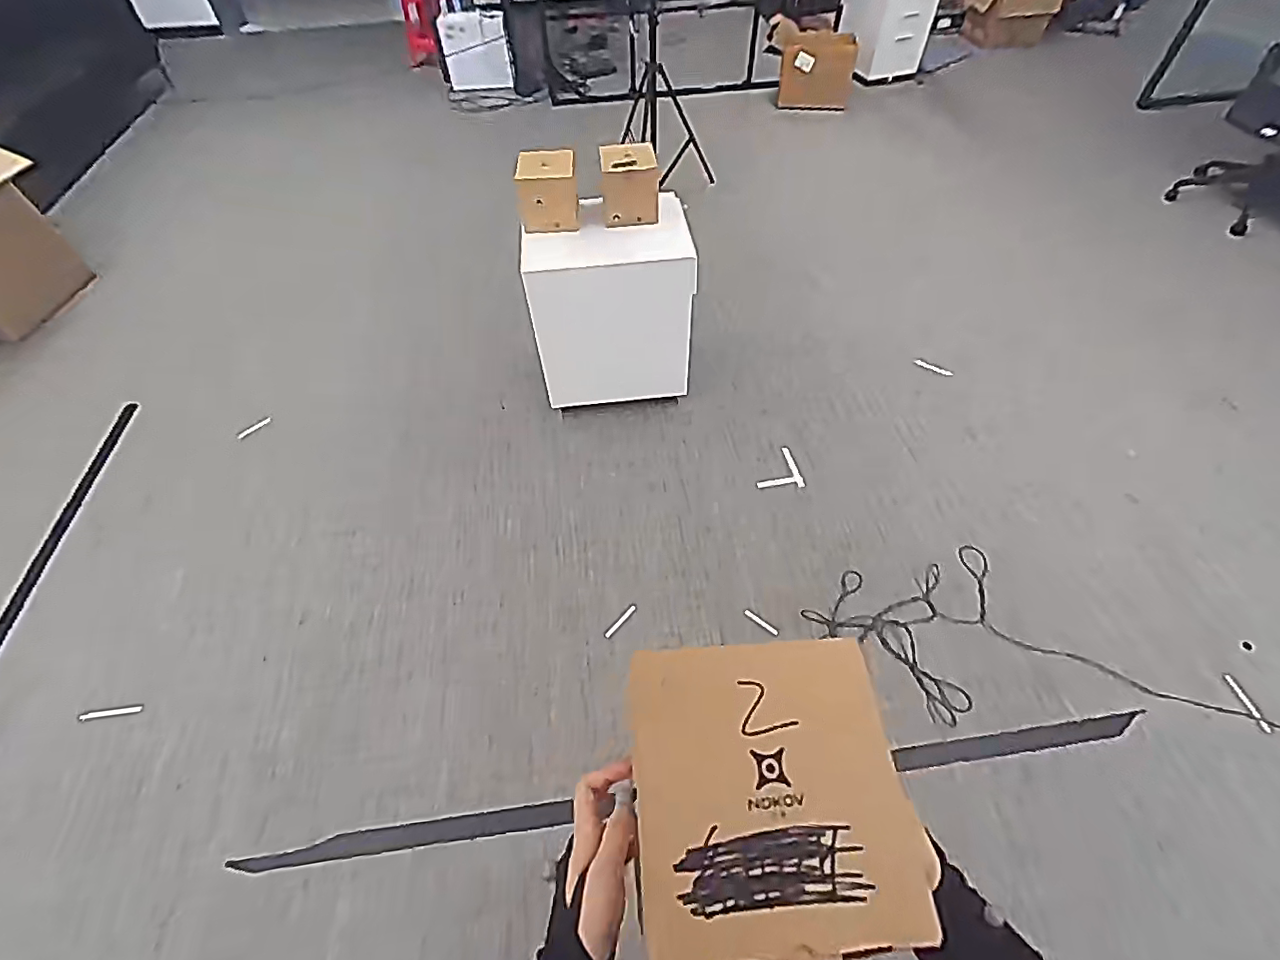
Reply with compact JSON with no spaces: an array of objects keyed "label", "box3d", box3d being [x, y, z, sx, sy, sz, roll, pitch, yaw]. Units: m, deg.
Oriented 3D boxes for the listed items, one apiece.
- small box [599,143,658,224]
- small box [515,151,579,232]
[{"label":"small box","box3d":[-0.035,-0.909,1.669,0.168,0.176,0.179,-6,53,-2]},{"label":"small box","box3d":[-0.279,-0.880,1.658,0.168,0.176,0.179,-3,53,-1]}]
